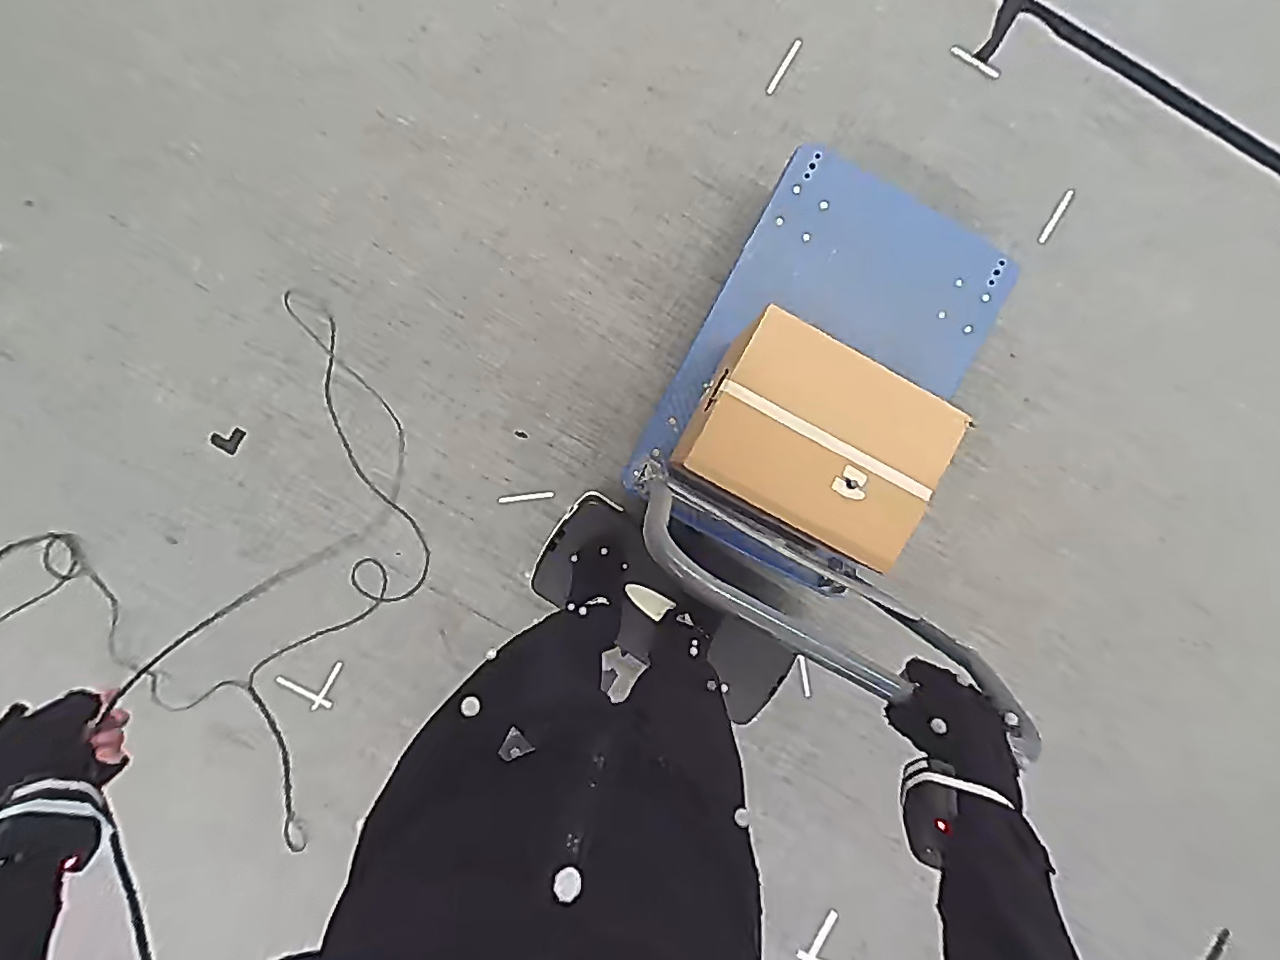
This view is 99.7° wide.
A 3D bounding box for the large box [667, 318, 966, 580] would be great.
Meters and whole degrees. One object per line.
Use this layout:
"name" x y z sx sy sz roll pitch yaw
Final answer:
"large box" 0.307 -0.056 1.061 0.408 0.320 0.320 28 91 -4
